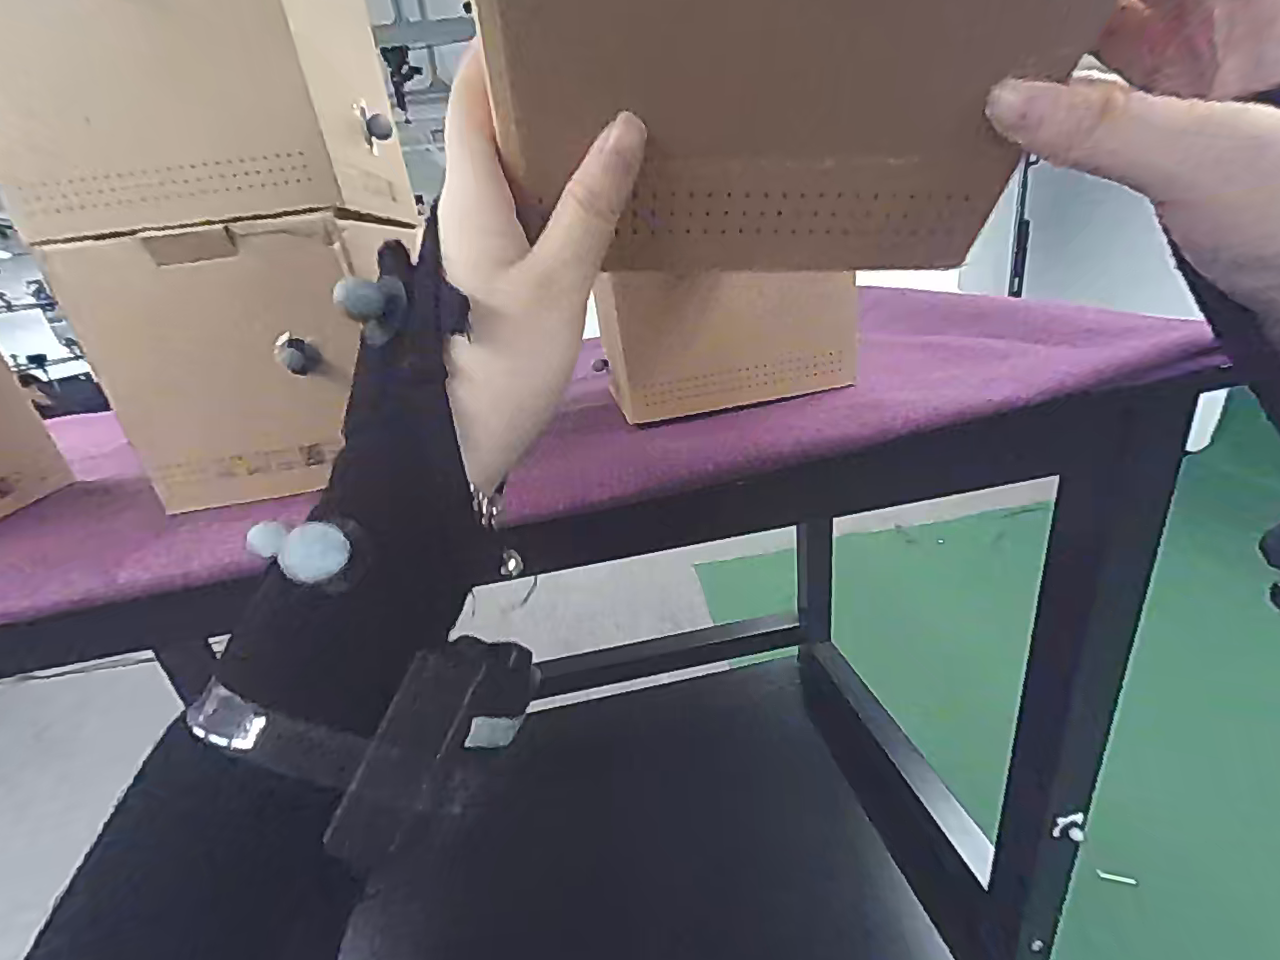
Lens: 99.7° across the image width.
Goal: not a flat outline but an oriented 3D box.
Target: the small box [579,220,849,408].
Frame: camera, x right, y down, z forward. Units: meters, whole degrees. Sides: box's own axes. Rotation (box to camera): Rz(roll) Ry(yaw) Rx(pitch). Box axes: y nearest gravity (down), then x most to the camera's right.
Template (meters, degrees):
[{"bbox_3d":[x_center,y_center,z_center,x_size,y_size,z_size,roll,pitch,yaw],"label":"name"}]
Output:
[{"bbox_3d":[0.051,-0.162,0.435,0.179,0.176,0.168,-11,21,-5],"label":"small box"}]

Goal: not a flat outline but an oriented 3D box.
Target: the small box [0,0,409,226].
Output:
[{"bbox_3d":[-0.273,-0.251,0.337,0.179,0.176,0.168,-9,23,-3],"label":"small box"}]

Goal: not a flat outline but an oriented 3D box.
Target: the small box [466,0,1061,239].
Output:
[{"bbox_3d":[0.034,-0.201,0.179,0.179,0.176,0.168,-2,57,-4],"label":"small box"}]

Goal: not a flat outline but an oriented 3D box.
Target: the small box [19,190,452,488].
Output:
[{"bbox_3d":[-0.252,-0.100,0.400,0.168,0.176,0.179,-9,22,-4],"label":"small box"}]
